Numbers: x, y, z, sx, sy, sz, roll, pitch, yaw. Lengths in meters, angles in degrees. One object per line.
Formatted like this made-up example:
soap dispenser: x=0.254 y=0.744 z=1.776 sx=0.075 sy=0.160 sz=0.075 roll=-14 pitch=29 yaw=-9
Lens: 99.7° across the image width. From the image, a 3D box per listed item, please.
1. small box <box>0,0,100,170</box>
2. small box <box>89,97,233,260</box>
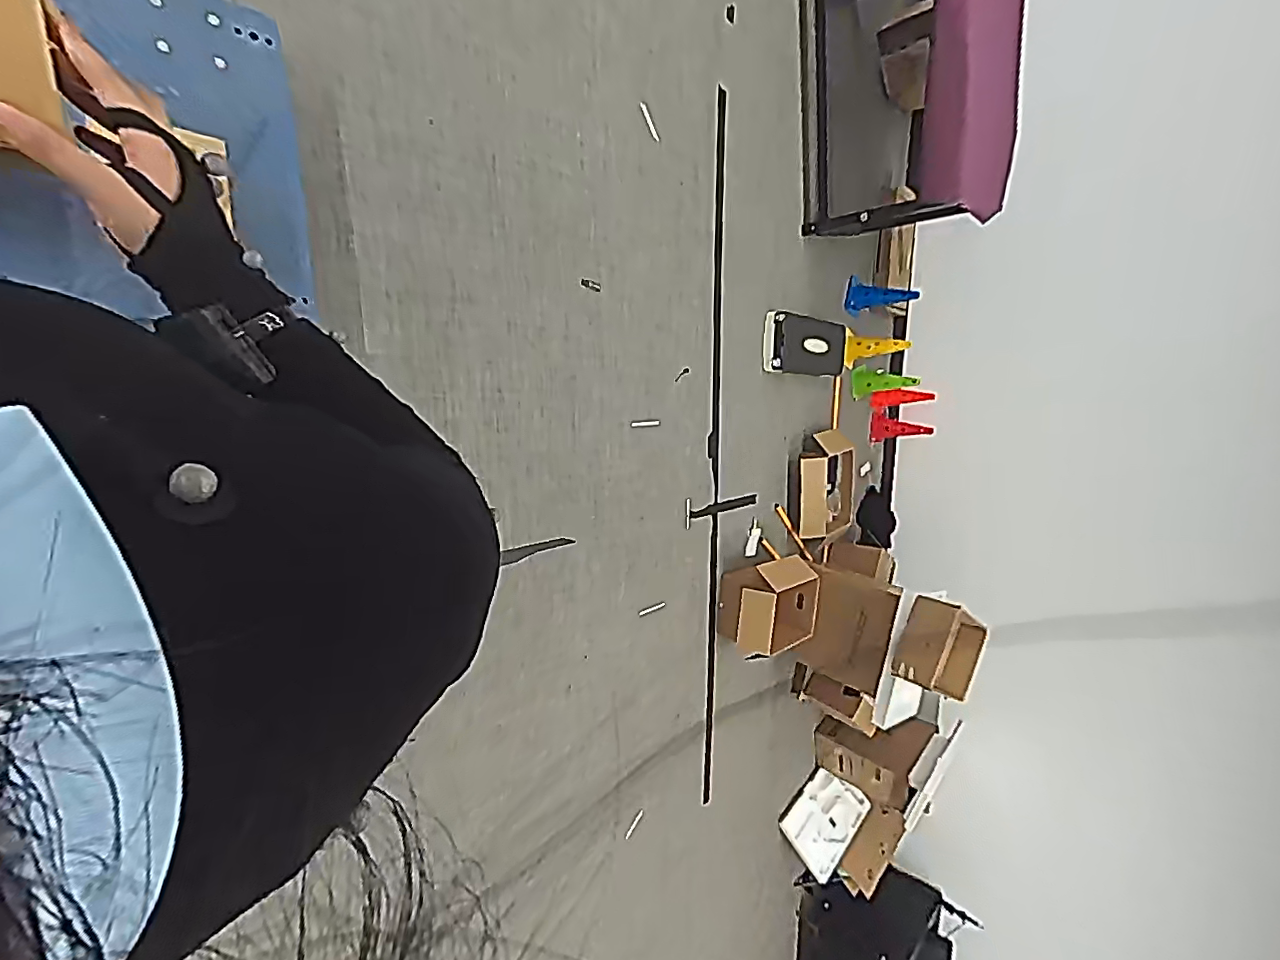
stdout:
small box: x=-0.439 y=-0.295 z=0.305 sx=0.168 sy=0.176 sz=0.179 roll=-11 pitch=116 yaw=-44
small box: x=-0.798 y=-0.484 z=0.900 sx=0.168 sy=0.176 sz=0.179 roll=-6 pitch=102 yaw=-43
